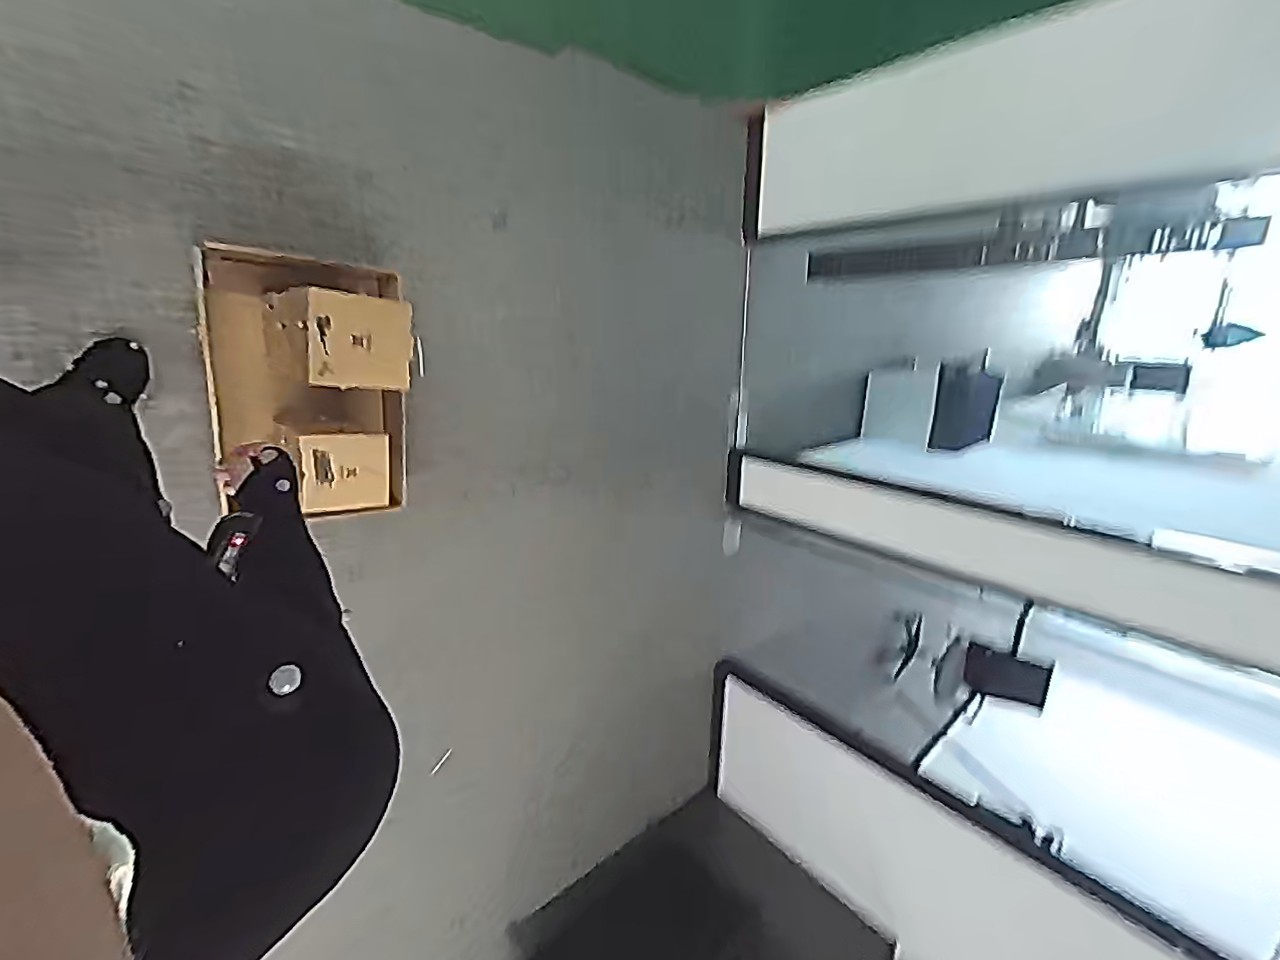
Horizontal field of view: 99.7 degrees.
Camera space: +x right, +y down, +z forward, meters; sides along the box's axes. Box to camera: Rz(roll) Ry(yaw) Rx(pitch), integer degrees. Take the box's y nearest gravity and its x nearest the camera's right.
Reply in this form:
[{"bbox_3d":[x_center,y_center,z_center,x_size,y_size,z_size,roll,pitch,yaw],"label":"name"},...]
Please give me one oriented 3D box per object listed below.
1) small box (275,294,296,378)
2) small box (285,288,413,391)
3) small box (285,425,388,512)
[{"bbox_3d":[-0.662,-0.306,1.162,0.179,0.176,0.168,-7,108,-42],"label":"small box"},{"bbox_3d":[-0.560,-0.269,1.038,0.179,0.176,0.168,-4,106,-44],"label":"small box"},{"bbox_3d":[-0.688,-0.031,1.219,0.179,0.176,0.168,-5,104,-43],"label":"small box"}]
